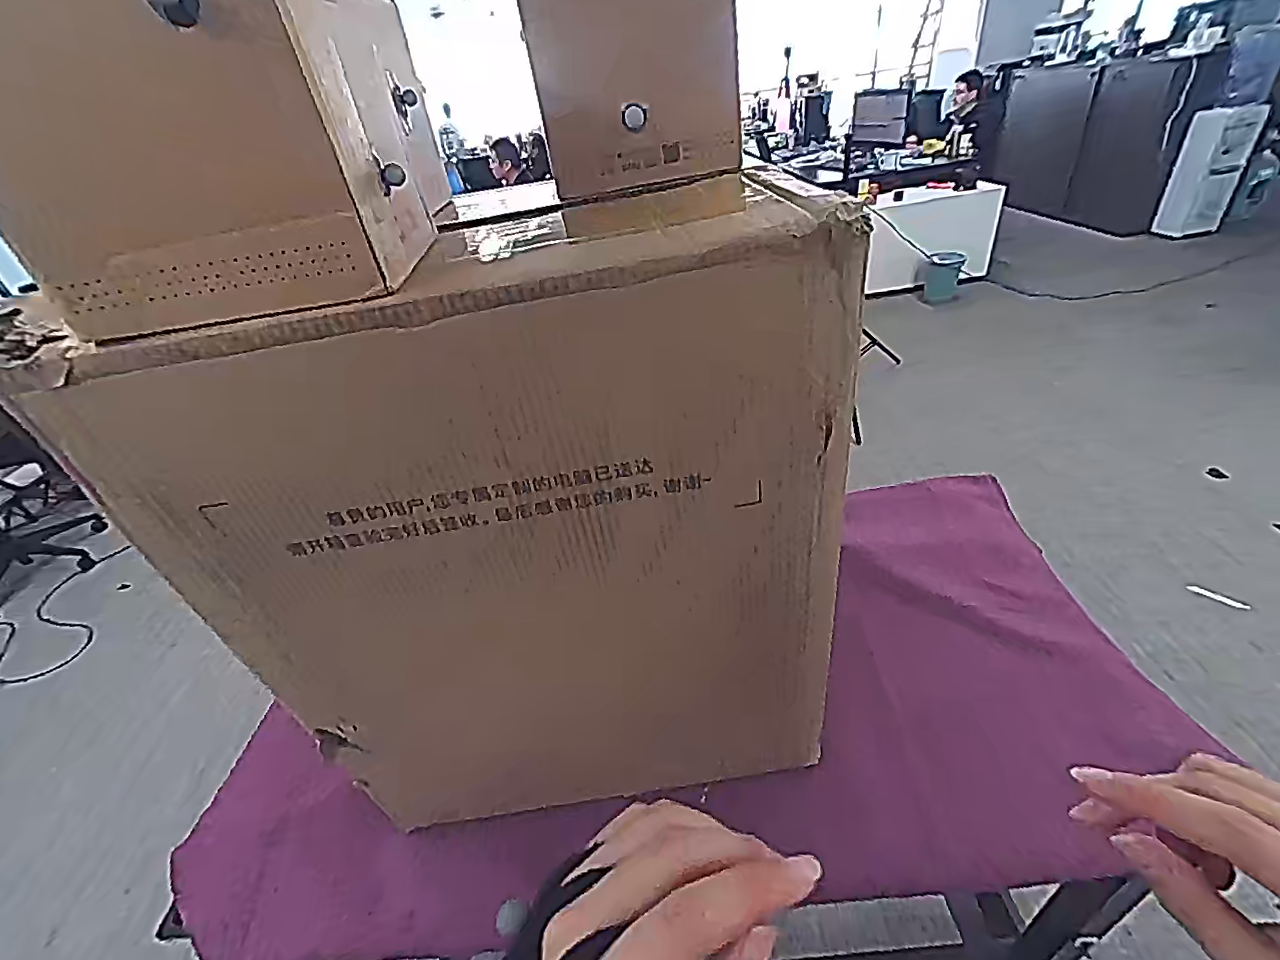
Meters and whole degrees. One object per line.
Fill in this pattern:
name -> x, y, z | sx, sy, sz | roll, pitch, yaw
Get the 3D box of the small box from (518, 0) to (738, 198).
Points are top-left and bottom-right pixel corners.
small box -> -0.008, -0.370, 0.496 | 0.168, 0.176, 0.179 | -9, 36, 3
